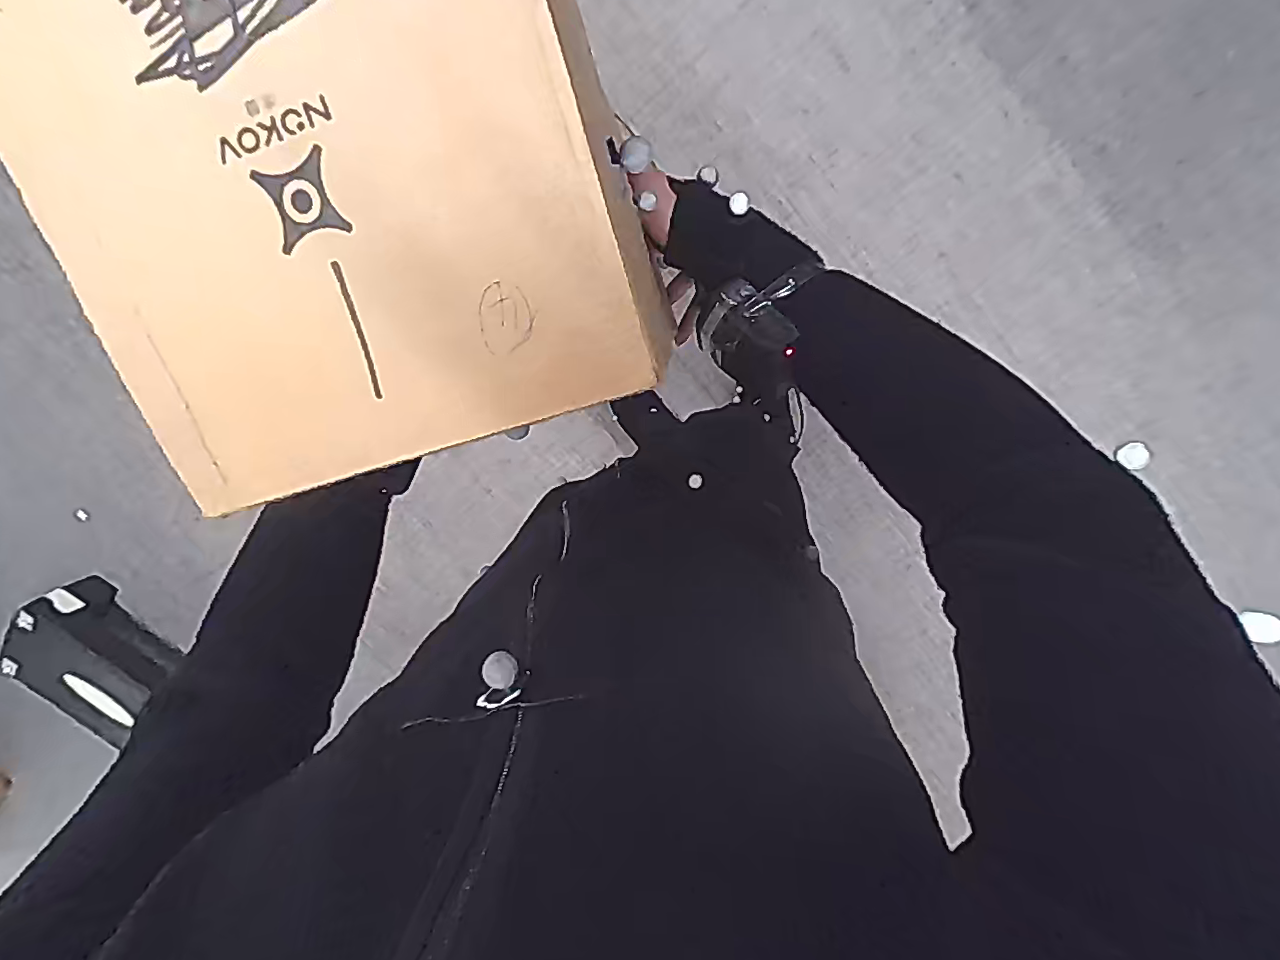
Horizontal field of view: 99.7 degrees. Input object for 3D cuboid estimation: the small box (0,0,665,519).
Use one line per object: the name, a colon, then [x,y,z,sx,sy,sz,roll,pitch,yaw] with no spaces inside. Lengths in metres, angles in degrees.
small box: [-0.091,-0.108,0.224,0.168,0.176,0.179,-15,106,10]

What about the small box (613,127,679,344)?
small box: [-0.062,-0.206,0.534,0.168,0.176,0.179,-15,105,11]
